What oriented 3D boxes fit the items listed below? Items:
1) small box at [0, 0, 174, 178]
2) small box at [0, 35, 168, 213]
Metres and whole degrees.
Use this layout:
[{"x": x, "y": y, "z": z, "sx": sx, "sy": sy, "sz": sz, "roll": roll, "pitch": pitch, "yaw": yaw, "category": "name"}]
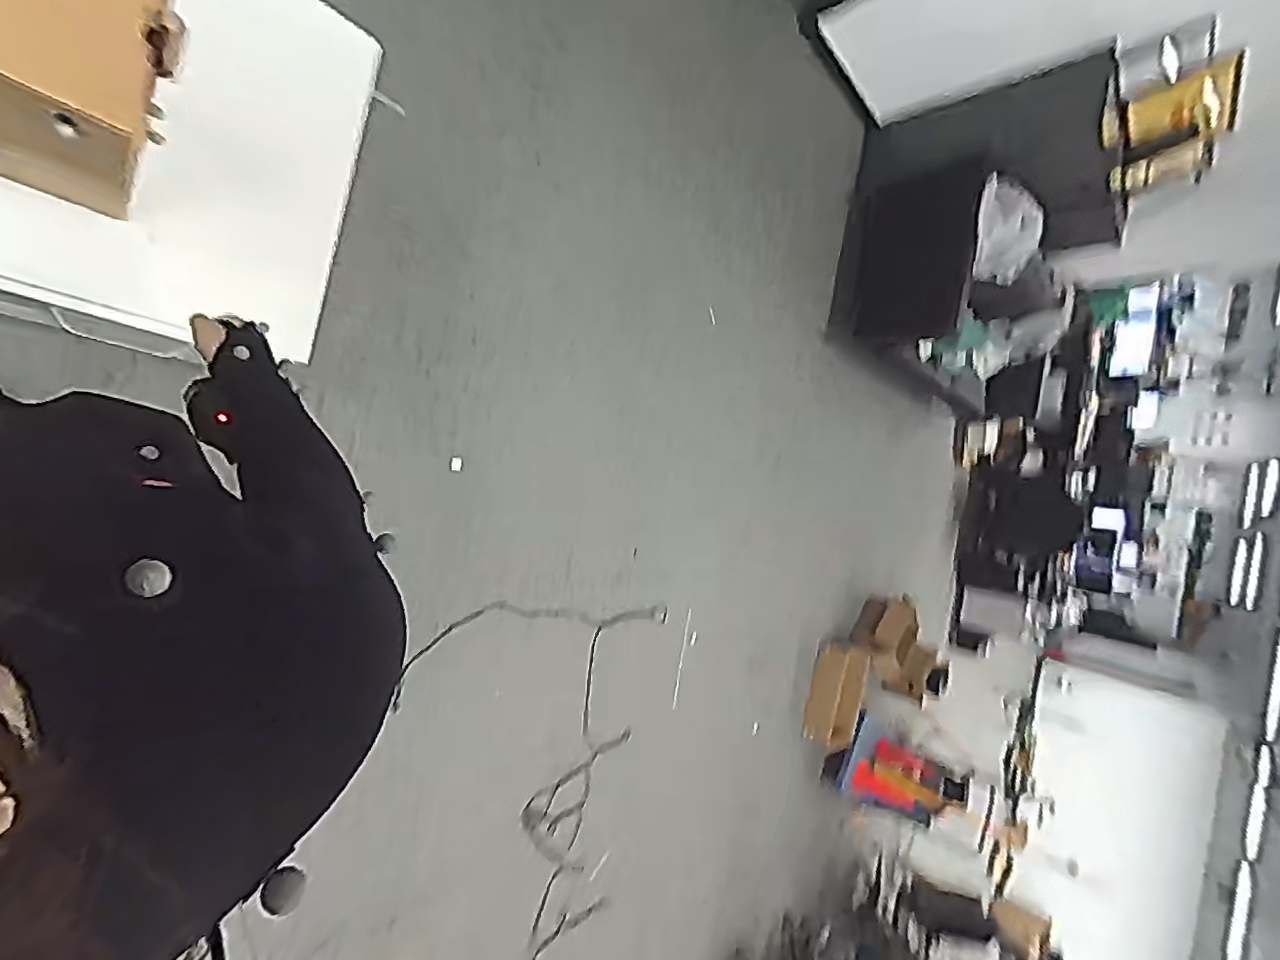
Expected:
[{"x": -0.501, "y": -0.375, "z": 0.426, "sx": 0.179, "sy": 0.176, "sz": 0.168, "roll": 14, "pitch": 86, "yaw": -47, "category": "small box"}, {"x": -0.613, "y": -0.398, "z": 0.543, "sx": 0.179, "sy": 0.176, "sz": 0.168, "roll": 14, "pitch": 86, "yaw": -46, "category": "small box"}]
